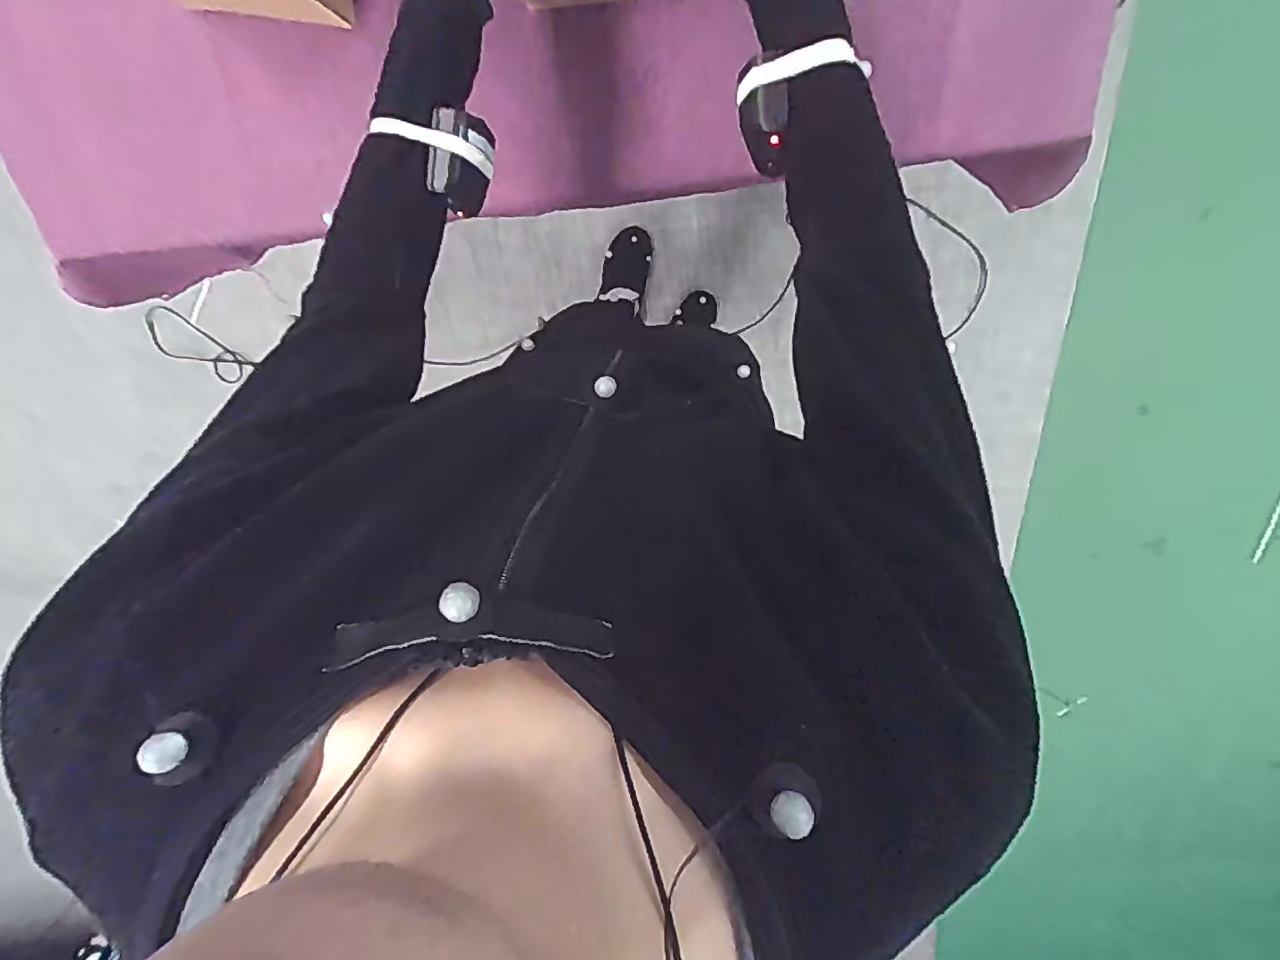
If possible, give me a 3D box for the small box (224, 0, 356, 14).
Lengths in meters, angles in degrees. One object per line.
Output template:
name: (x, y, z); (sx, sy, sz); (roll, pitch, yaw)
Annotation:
small box: (-0.365, -0.524, 0.449); (0.179, 0.176, 0.168); (4, 115, -4)
